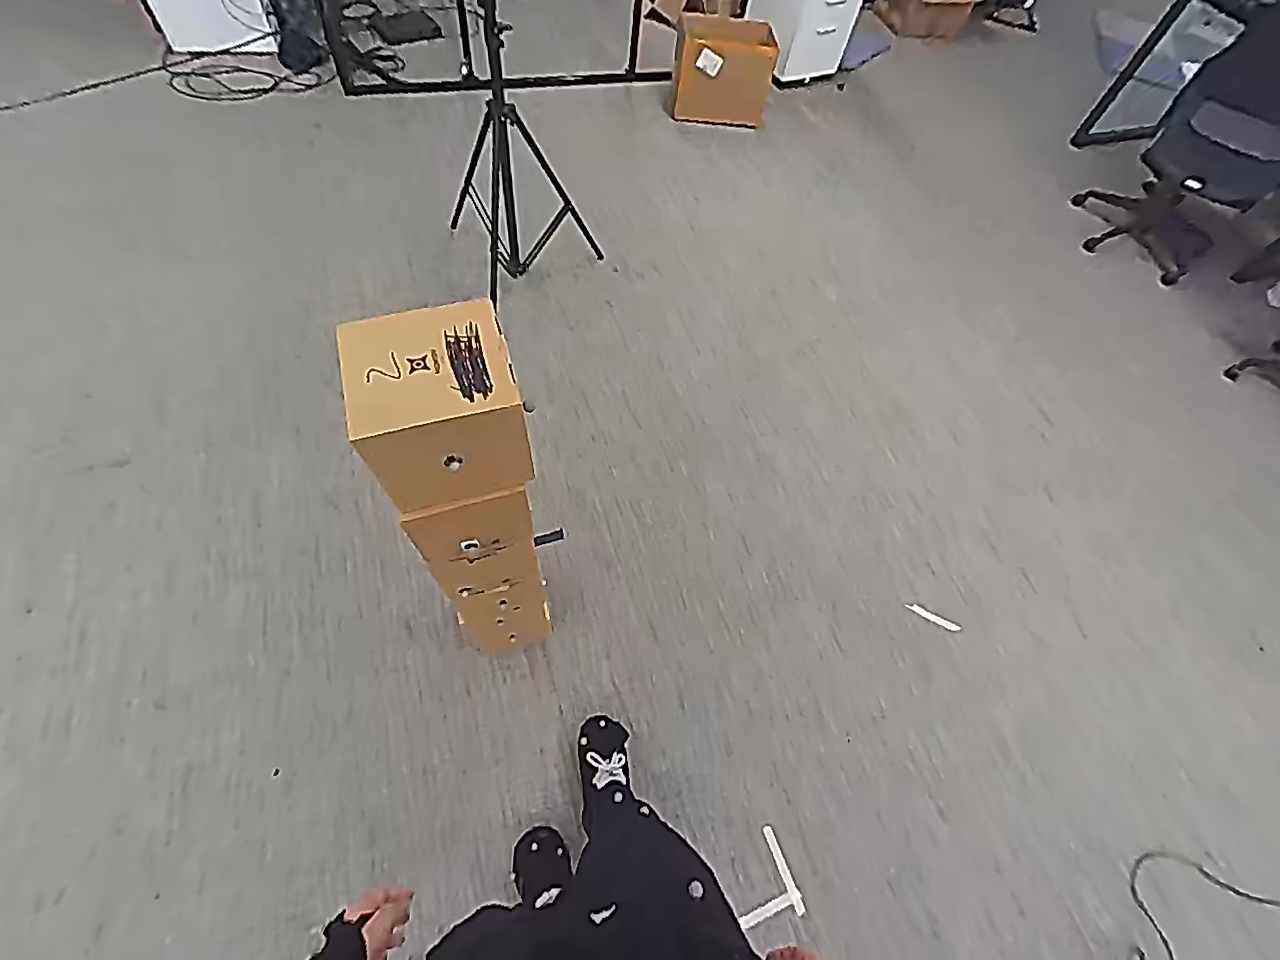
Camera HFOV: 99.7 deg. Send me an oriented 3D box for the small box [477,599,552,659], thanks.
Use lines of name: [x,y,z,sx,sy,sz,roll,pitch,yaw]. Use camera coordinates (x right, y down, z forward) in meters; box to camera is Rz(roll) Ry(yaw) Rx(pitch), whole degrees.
small box: [-0.325,0.332,1.357,0.179,0.176,0.168,-14,63,-14]

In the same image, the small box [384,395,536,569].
small box: [-0.256,0.007,0.794,0.168,0.176,0.179,-15,64,-14]

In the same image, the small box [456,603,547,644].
small box: [-0.313,0.255,1.212,0.179,0.176,0.168,-12,63,-13]

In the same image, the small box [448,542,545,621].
small box: [-0.289,0.170,1.075,0.168,0.176,0.179,-12,63,-13]

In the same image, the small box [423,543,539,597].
small box: [-0.275,0.088,0.933,0.168,0.176,0.179,-13,62,-14]
